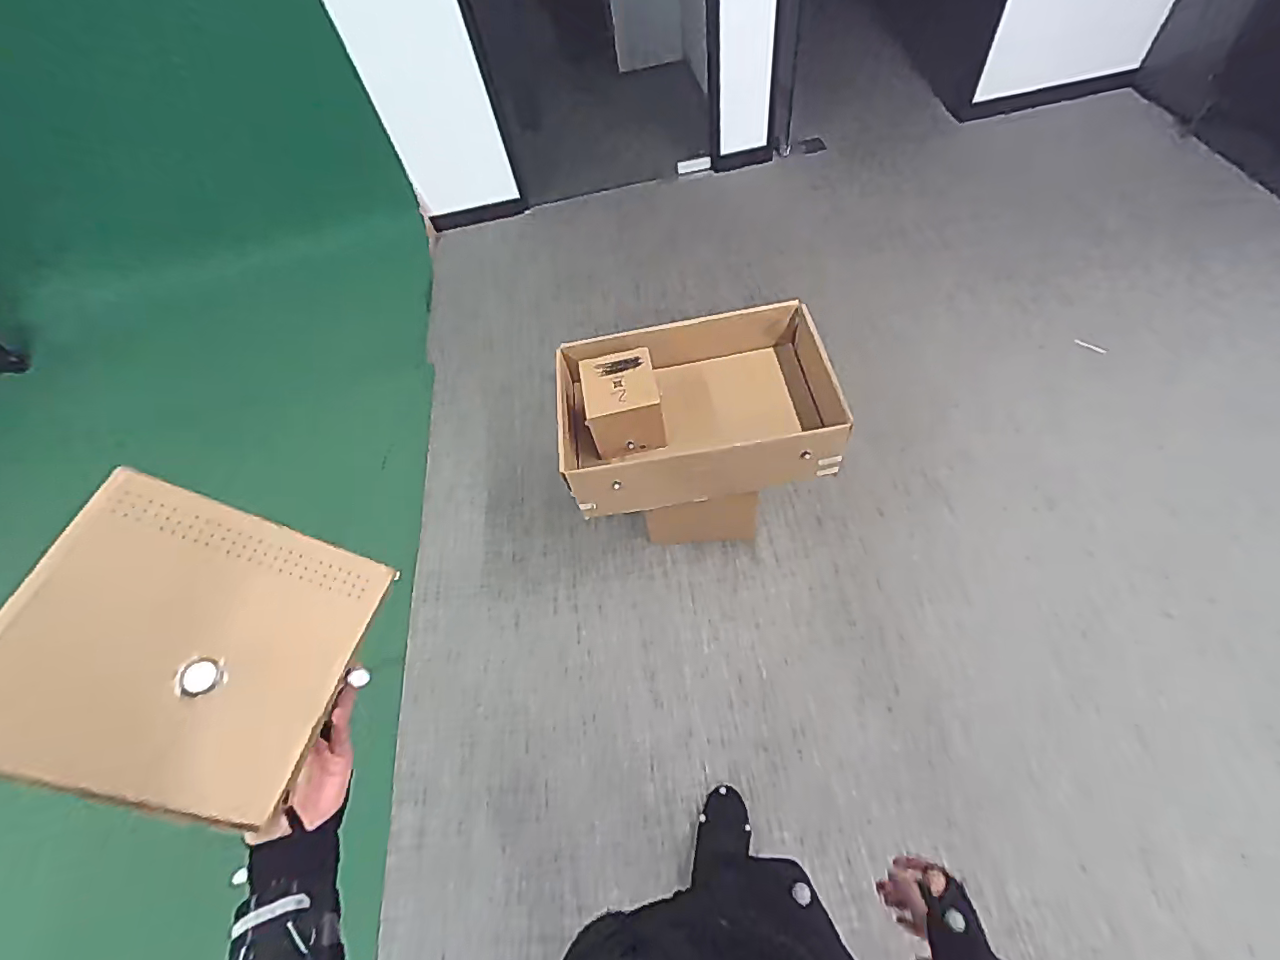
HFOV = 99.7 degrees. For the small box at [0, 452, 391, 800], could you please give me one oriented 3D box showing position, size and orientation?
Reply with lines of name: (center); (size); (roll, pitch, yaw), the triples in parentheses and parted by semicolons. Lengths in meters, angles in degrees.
small box: (-0.304, 0.104, 0.393); (0.179, 0.168, 0.176); (27, 61, -18)
